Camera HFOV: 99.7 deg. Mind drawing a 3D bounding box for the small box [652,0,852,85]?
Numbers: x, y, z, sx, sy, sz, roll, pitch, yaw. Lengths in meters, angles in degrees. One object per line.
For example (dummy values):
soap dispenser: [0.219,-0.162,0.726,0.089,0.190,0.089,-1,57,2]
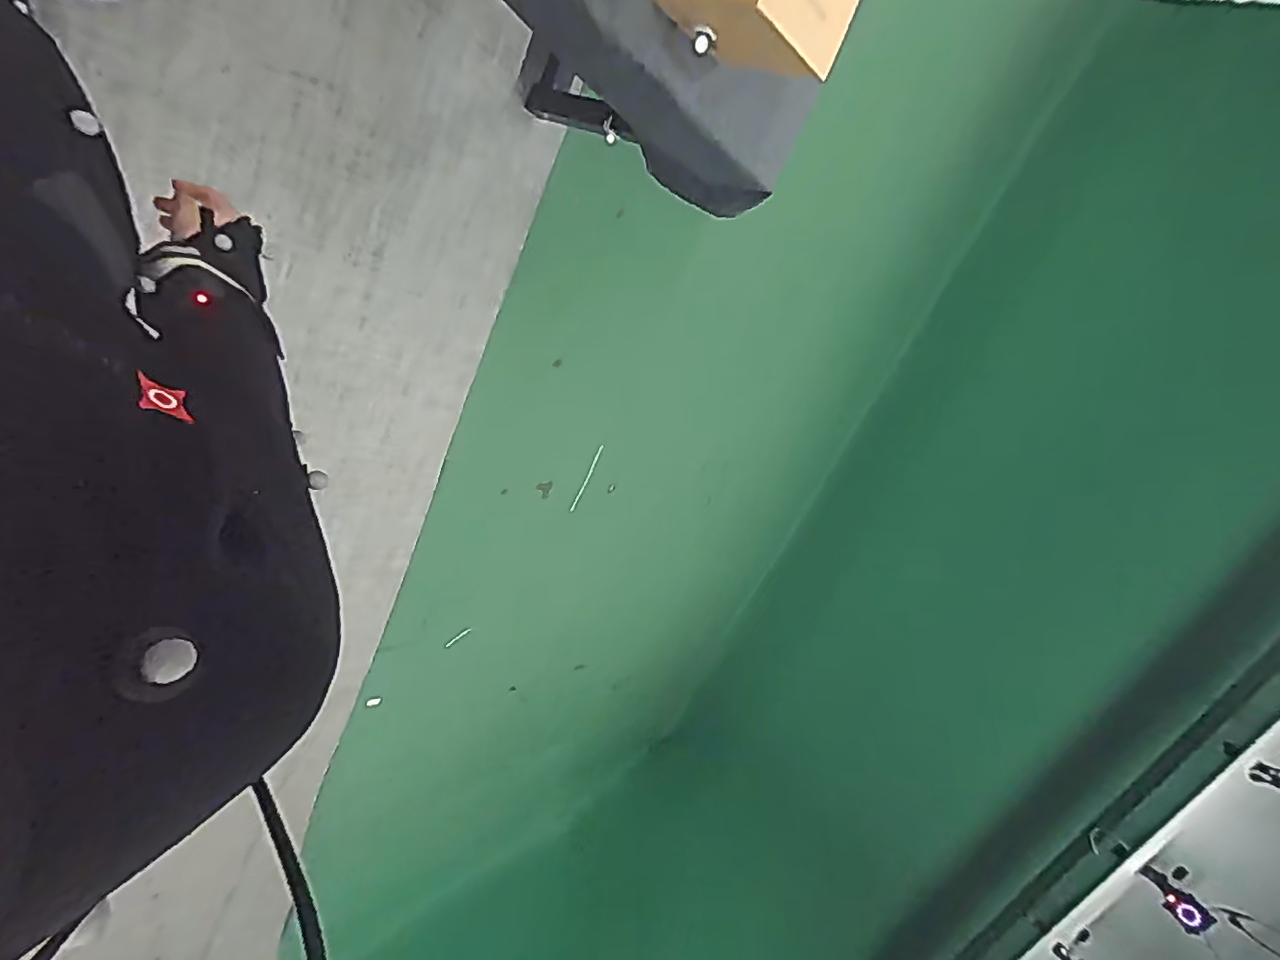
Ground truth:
small box: [0.139,-0.598,0.621,0.168,0.176,0.179,-6,126,-47]
